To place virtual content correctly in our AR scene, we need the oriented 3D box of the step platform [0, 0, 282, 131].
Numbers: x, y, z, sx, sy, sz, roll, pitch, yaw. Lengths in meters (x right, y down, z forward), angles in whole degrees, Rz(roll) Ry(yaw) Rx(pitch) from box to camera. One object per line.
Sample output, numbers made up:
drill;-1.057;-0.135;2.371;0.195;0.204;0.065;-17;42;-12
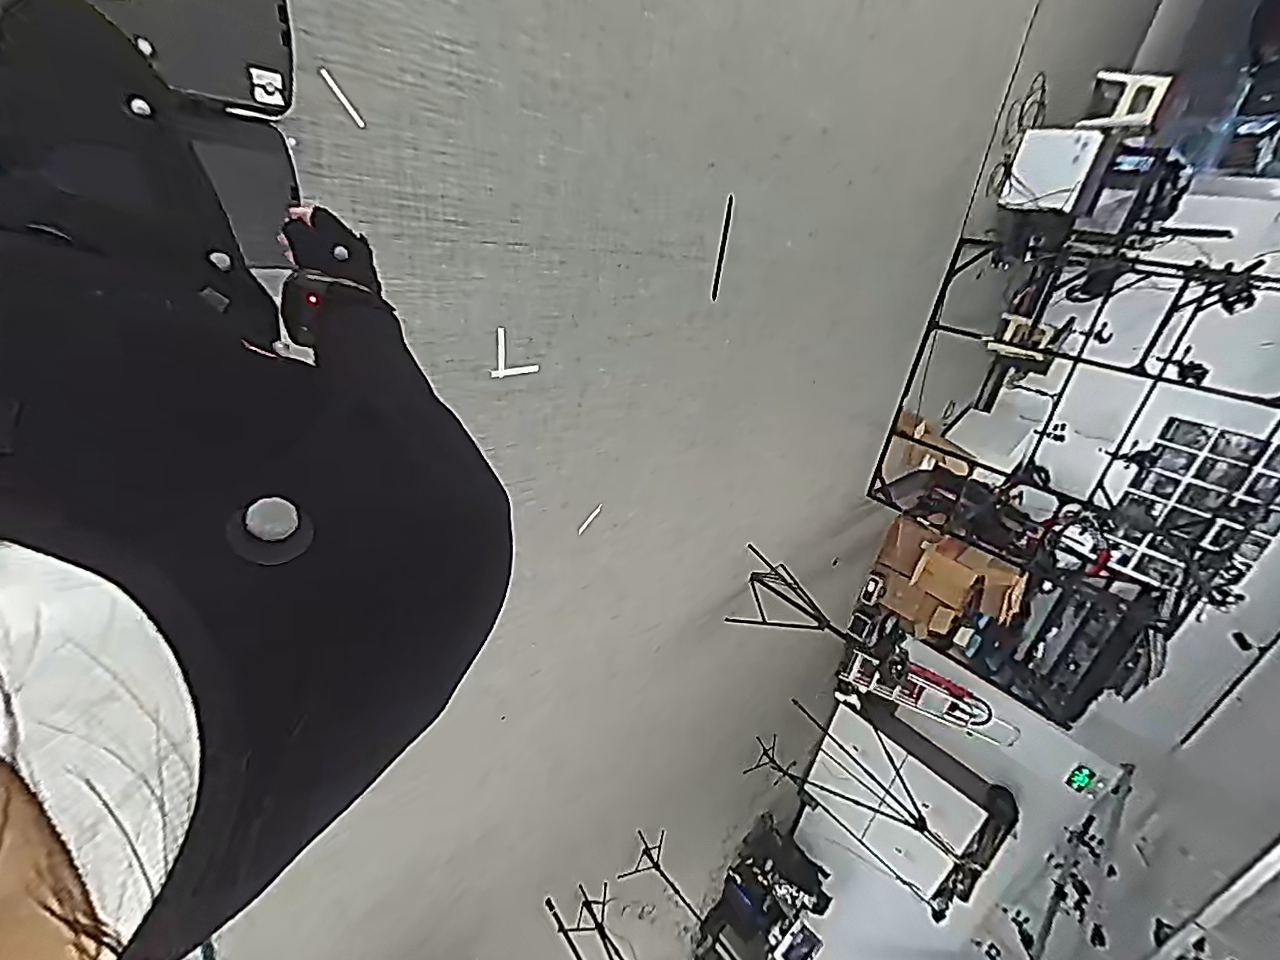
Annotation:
step platform;-0.945;-0.745;0.806;0.684;0.204;0.286;-18;127;-40
